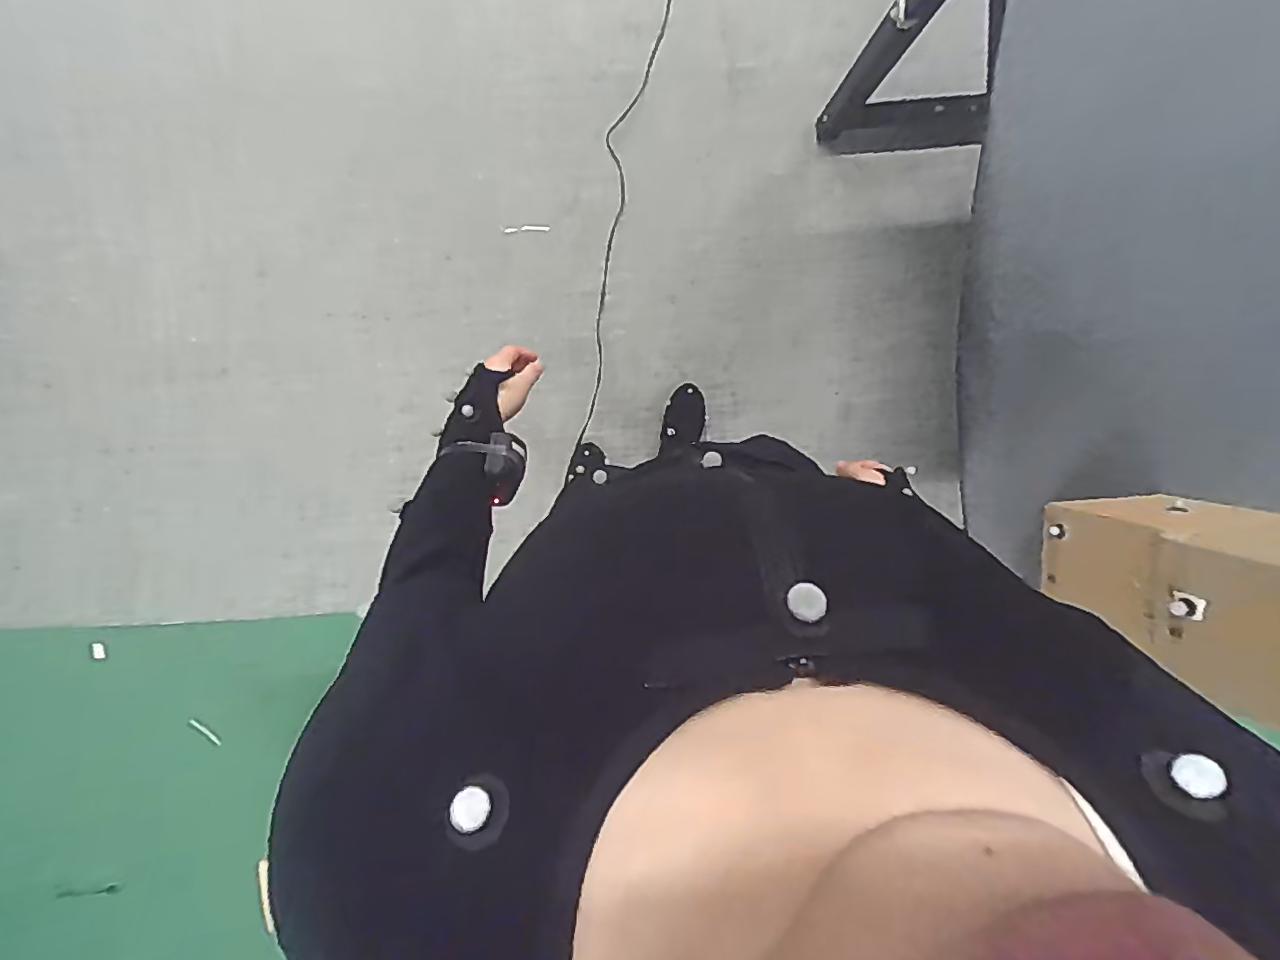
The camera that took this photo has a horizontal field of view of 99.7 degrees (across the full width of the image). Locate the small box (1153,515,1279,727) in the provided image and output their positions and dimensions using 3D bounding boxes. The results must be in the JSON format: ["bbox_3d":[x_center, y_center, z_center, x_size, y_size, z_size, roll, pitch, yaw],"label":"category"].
[{"bbox_3d":[0.663,0.133,0.525,0.179,0.176,0.168,-8,97,-1],"label":"small box"}]

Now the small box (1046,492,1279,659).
[{"bbox_3d":[0.659,0.111,0.685,0.179,0.176,0.168,-4,98,-3],"label":"small box"}]
